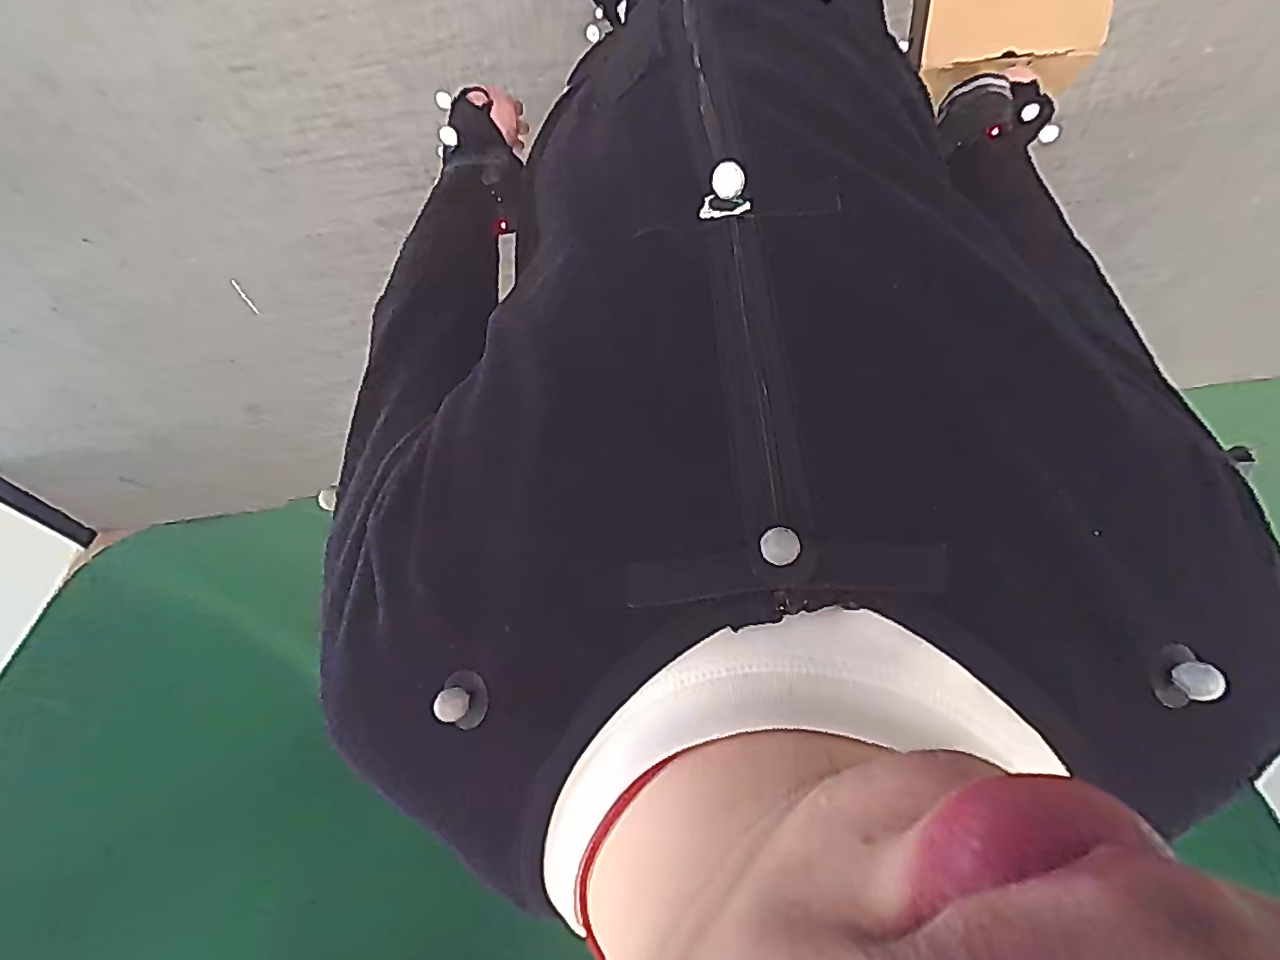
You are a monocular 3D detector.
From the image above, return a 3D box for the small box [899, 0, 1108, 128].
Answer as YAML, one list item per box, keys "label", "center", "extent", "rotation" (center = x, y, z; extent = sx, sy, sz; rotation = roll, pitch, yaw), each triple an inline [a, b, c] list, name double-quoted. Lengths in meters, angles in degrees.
- label: "small box"
  center: [0.404, -0.526, 0.614]
  extent: [0.168, 0.176, 0.179]
  rotation: [7, 101, 16]
